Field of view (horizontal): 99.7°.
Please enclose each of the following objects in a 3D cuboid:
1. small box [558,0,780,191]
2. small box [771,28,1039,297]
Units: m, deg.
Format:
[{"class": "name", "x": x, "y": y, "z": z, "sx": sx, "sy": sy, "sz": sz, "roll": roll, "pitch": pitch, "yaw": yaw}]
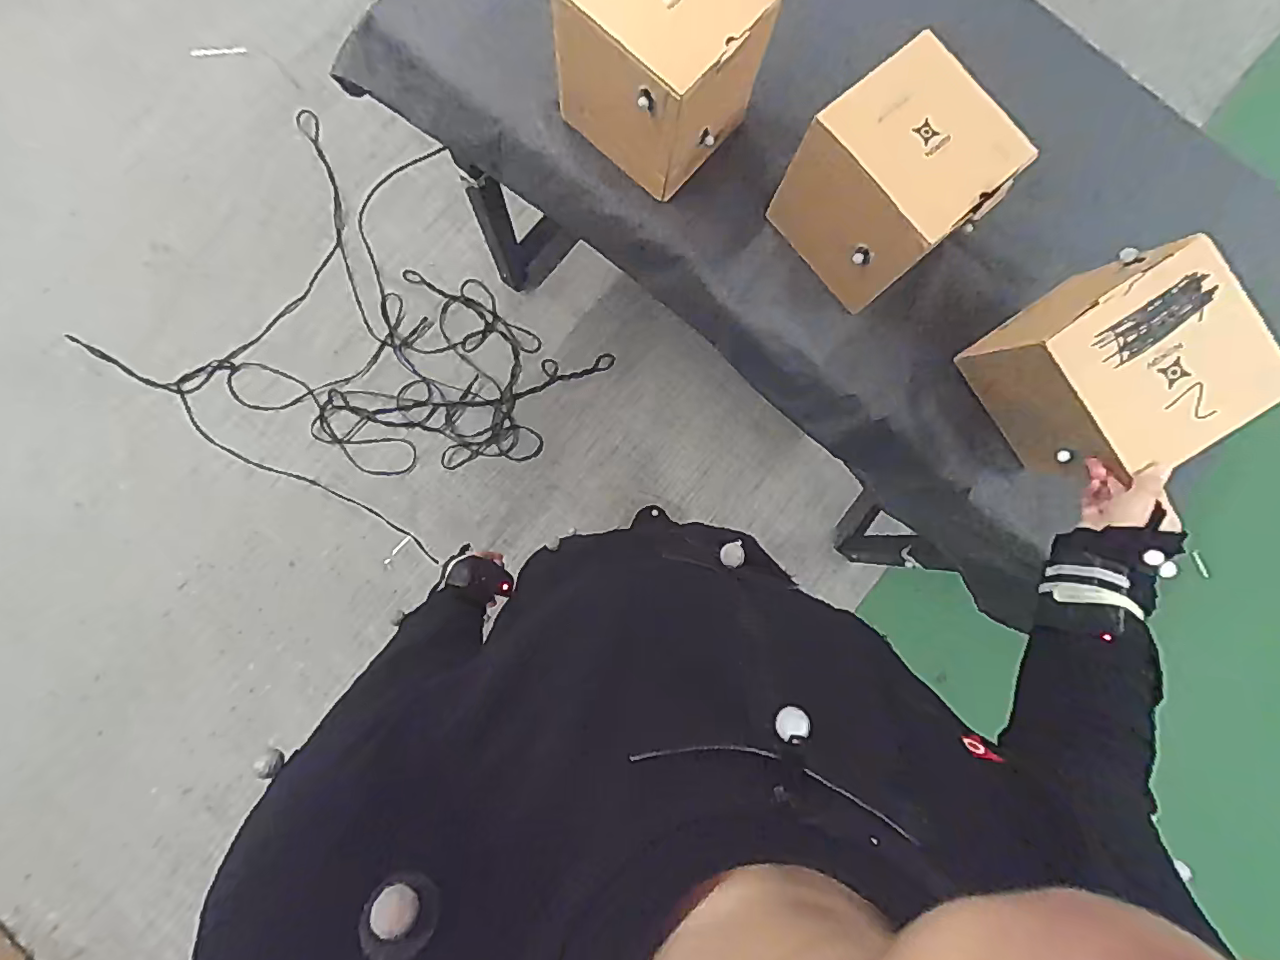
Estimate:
[{"class": "small box", "x": 0.022, "y": -0.479, "z": 0.616, "sx": 0.179, "sy": 0.176, "sz": 0.168, "roll": 41, "pitch": 82, "yaw": 1}, {"class": "small box", "x": 0.282, "y": -0.337, "z": 0.617, "sx": 0.168, "sy": 0.176, "sz": 0.179, "roll": -41, "pitch": 87, "yaw": -8}]
